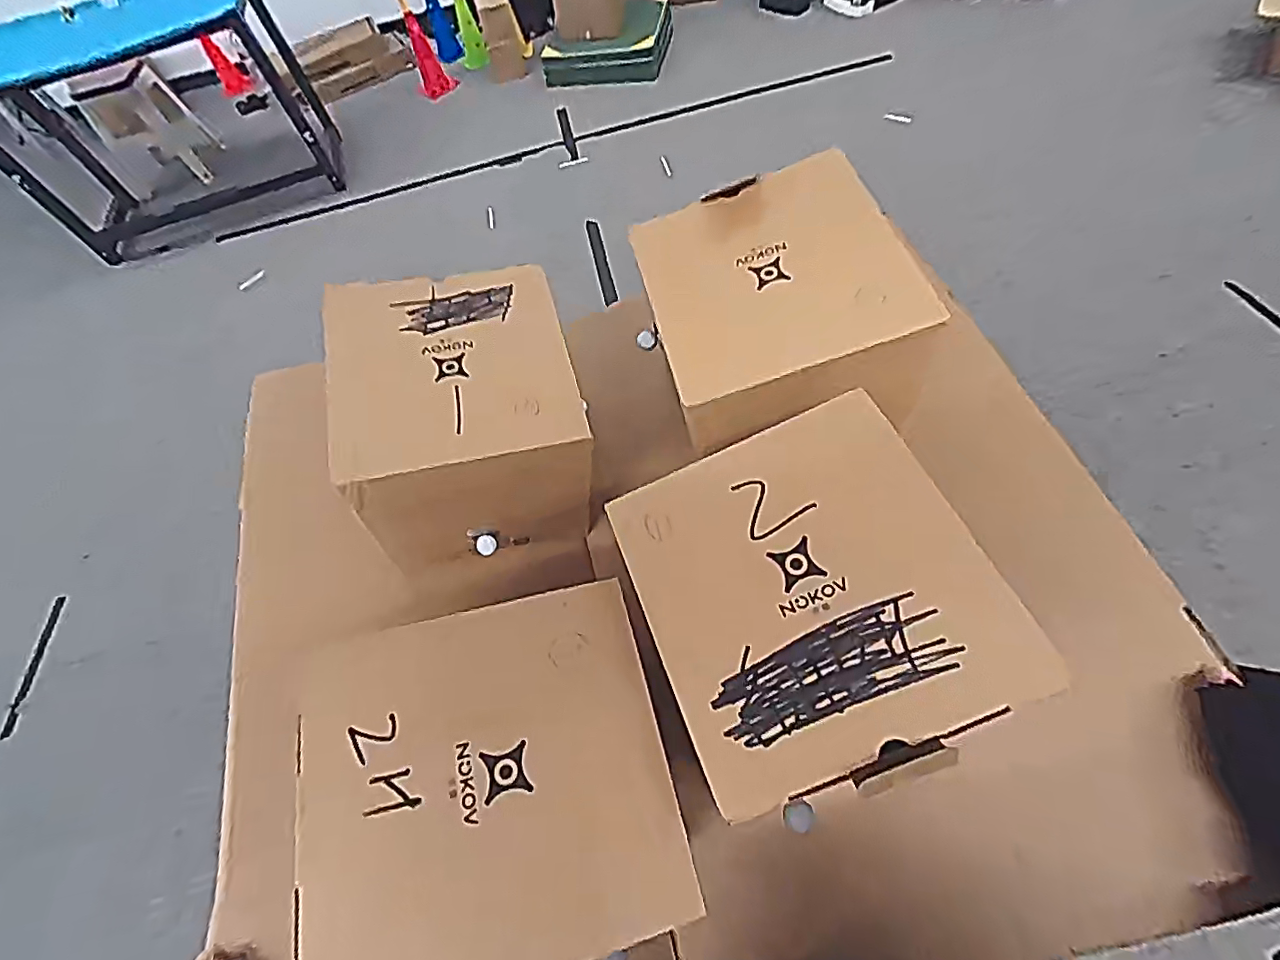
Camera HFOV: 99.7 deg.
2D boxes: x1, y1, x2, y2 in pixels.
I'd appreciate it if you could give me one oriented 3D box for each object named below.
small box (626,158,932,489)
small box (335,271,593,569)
[{"bbox_3d":[0.103,-0.108,0.442,0.168,0.176,0.179,-18,62,7],"label":"small box"},{"bbox_3d":[-0.141,-0.046,0.462,0.168,0.176,0.179,-12,63,-12],"label":"small box"}]
